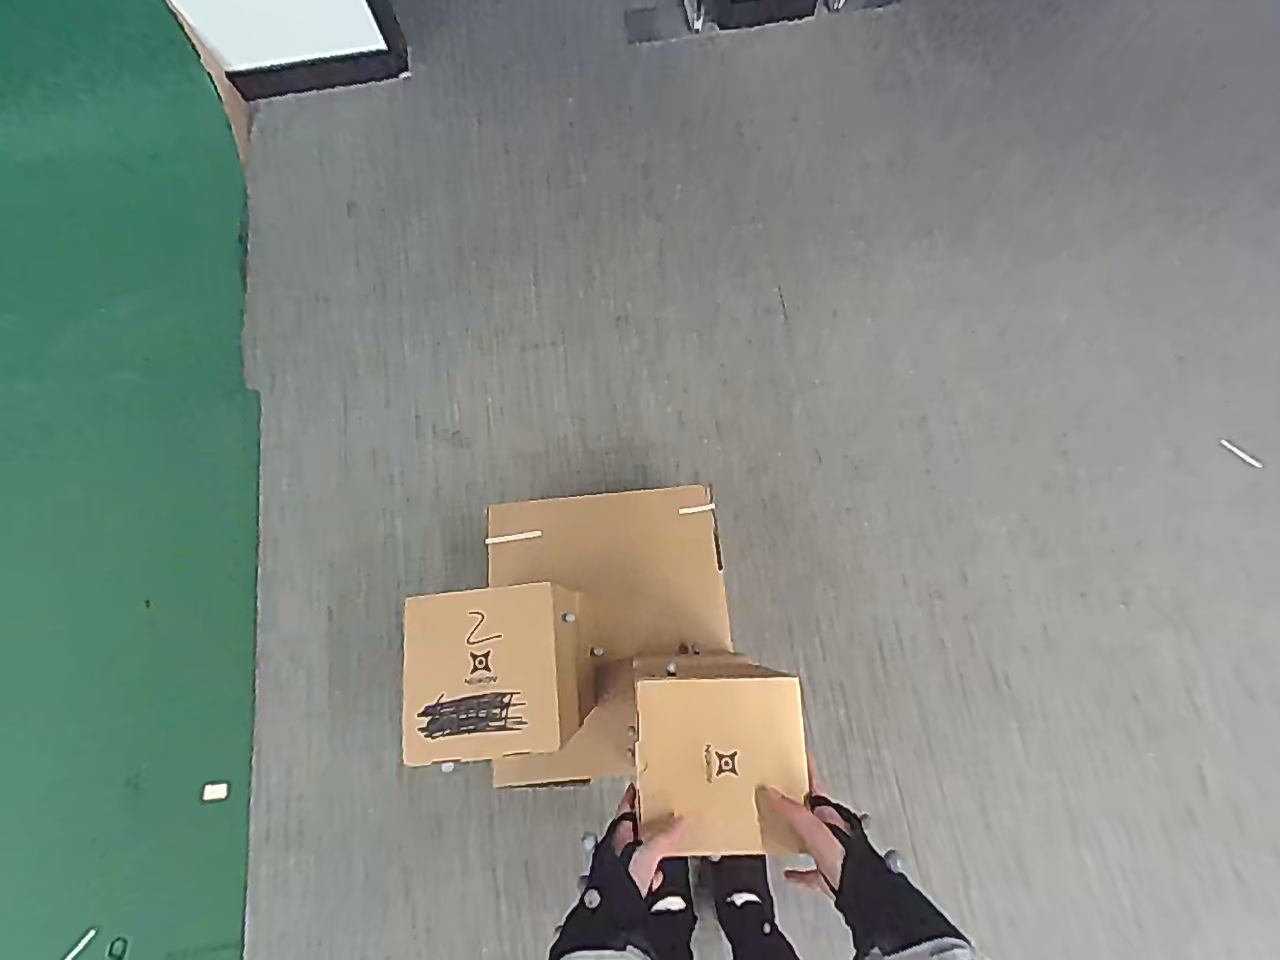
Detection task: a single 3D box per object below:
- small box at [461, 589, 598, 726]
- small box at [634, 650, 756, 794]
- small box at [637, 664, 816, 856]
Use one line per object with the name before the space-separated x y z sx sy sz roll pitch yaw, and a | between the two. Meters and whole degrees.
small box | -0.155 0.263 0.812 0.168 0.176 0.179 -3 74 2
small box | 0.077 0.343 0.783 0.168 0.176 0.179 -2 74 0
small box | 0.085 0.306 0.624 0.179 0.176 0.168 -2 75 1
